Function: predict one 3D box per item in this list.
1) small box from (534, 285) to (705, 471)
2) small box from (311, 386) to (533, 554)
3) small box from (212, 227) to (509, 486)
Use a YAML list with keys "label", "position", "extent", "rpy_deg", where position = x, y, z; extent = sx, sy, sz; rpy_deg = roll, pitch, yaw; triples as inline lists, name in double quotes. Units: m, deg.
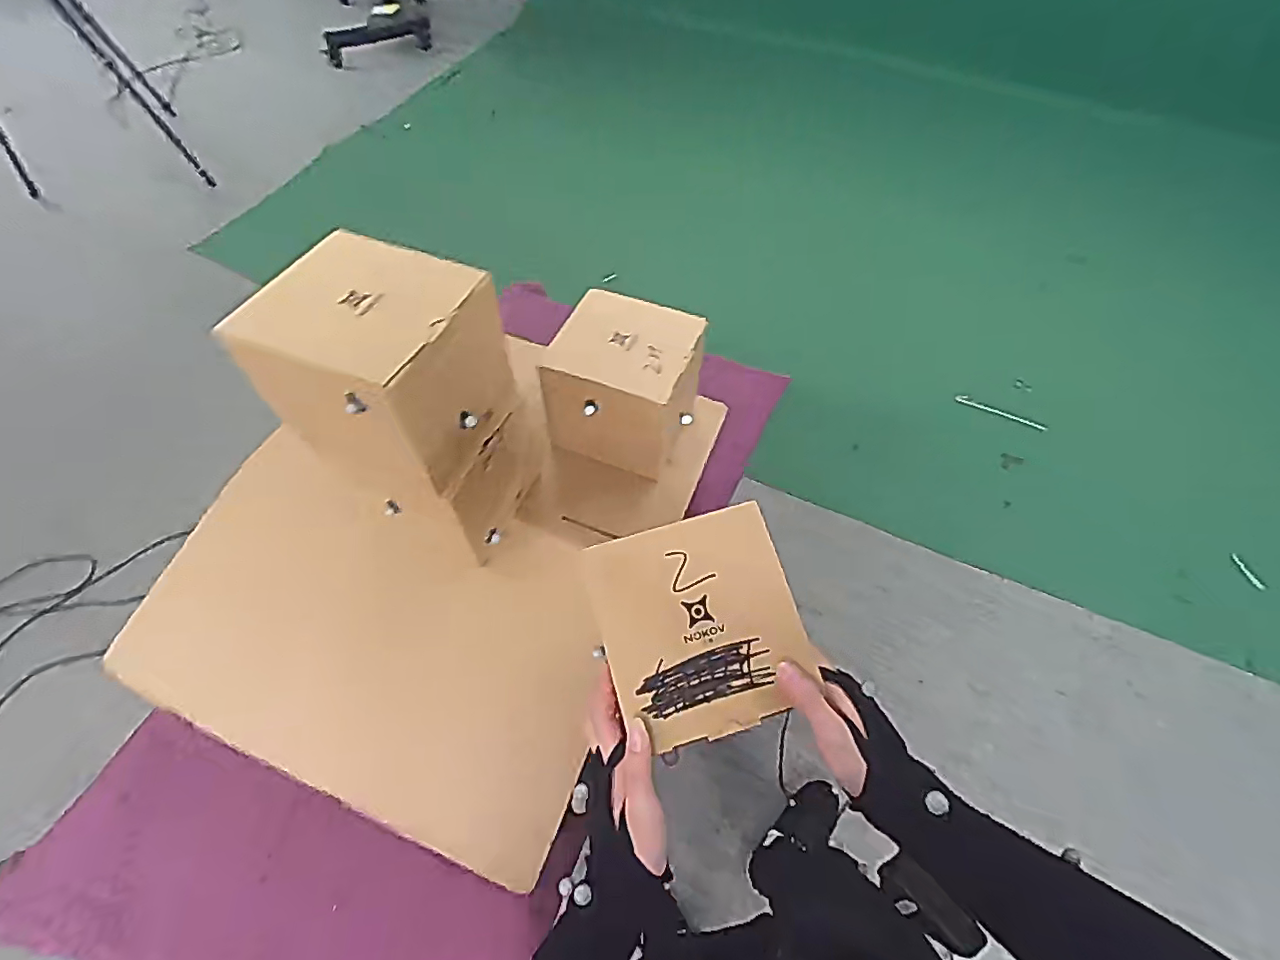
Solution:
- label: "small box"
  position: [-0.025, -0.137, 0.761]
  extent: [0.179, 0.176, 0.168]
  rpy_deg: [20, 59, 10]
- label: "small box"
  position: [-0.253, -0.028, 0.681]
  extent: [0.179, 0.176, 0.168]
  rpy_deg: [19, 57, 11]
- label: "small box"
  position: [-0.256, -0.118, 0.546]
  extent: [0.179, 0.176, 0.168]
  rpy_deg: [19, 57, 9]
